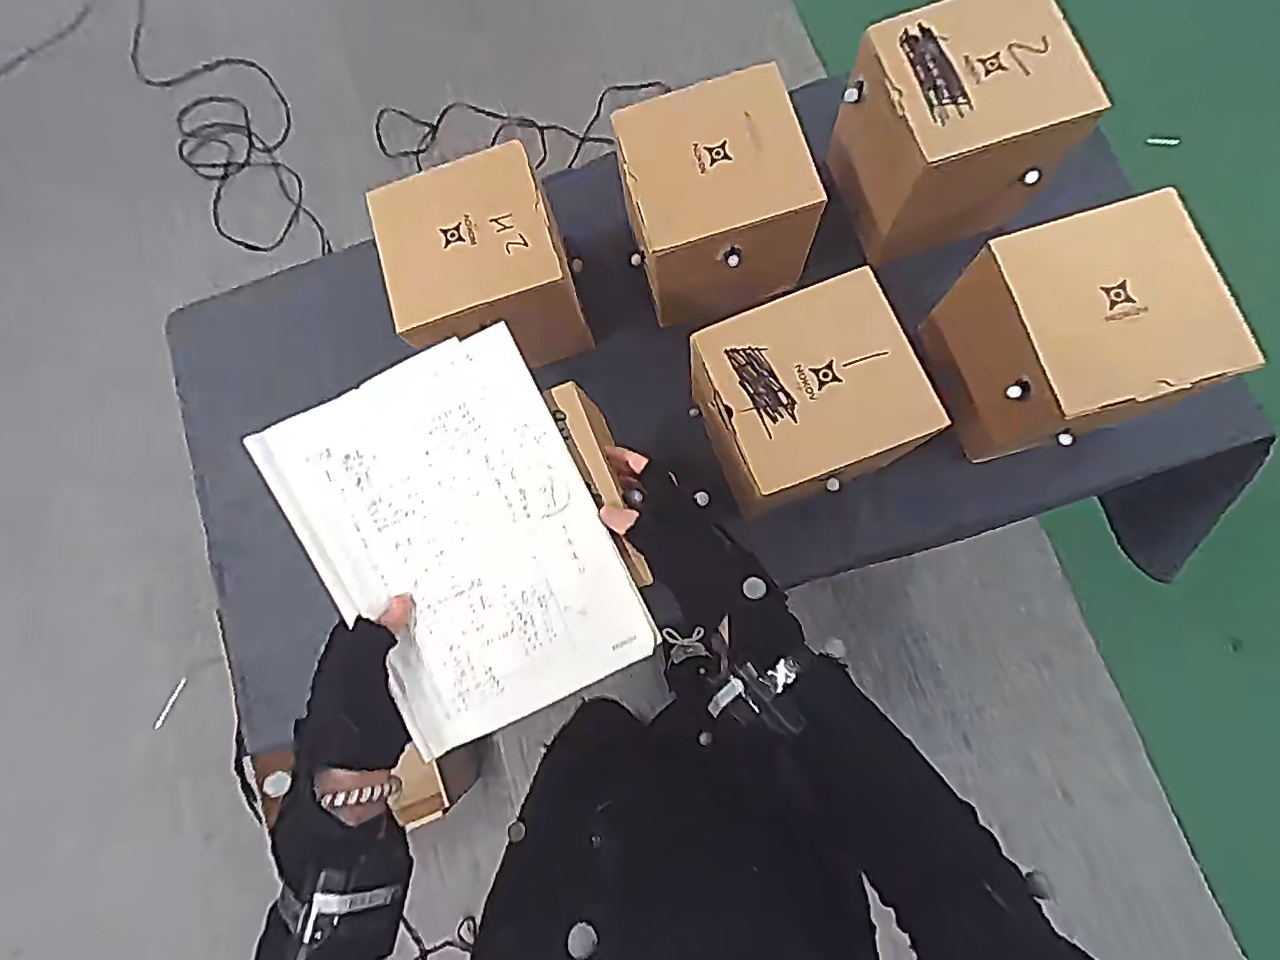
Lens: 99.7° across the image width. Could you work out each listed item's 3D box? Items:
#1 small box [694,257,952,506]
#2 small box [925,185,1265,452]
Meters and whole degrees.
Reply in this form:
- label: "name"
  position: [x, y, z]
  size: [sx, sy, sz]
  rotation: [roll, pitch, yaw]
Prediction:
- label: "small box"
  position: [0.165, -0.083, 0.551]
  size: [0.179, 0.176, 0.168]
  rotation: [-21, 78, 1]
- label: "small box"
  position: [0.420, -0.145, 0.540]
  size: [0.168, 0.176, 0.179]
  rotation: [-15, 79, 3]
